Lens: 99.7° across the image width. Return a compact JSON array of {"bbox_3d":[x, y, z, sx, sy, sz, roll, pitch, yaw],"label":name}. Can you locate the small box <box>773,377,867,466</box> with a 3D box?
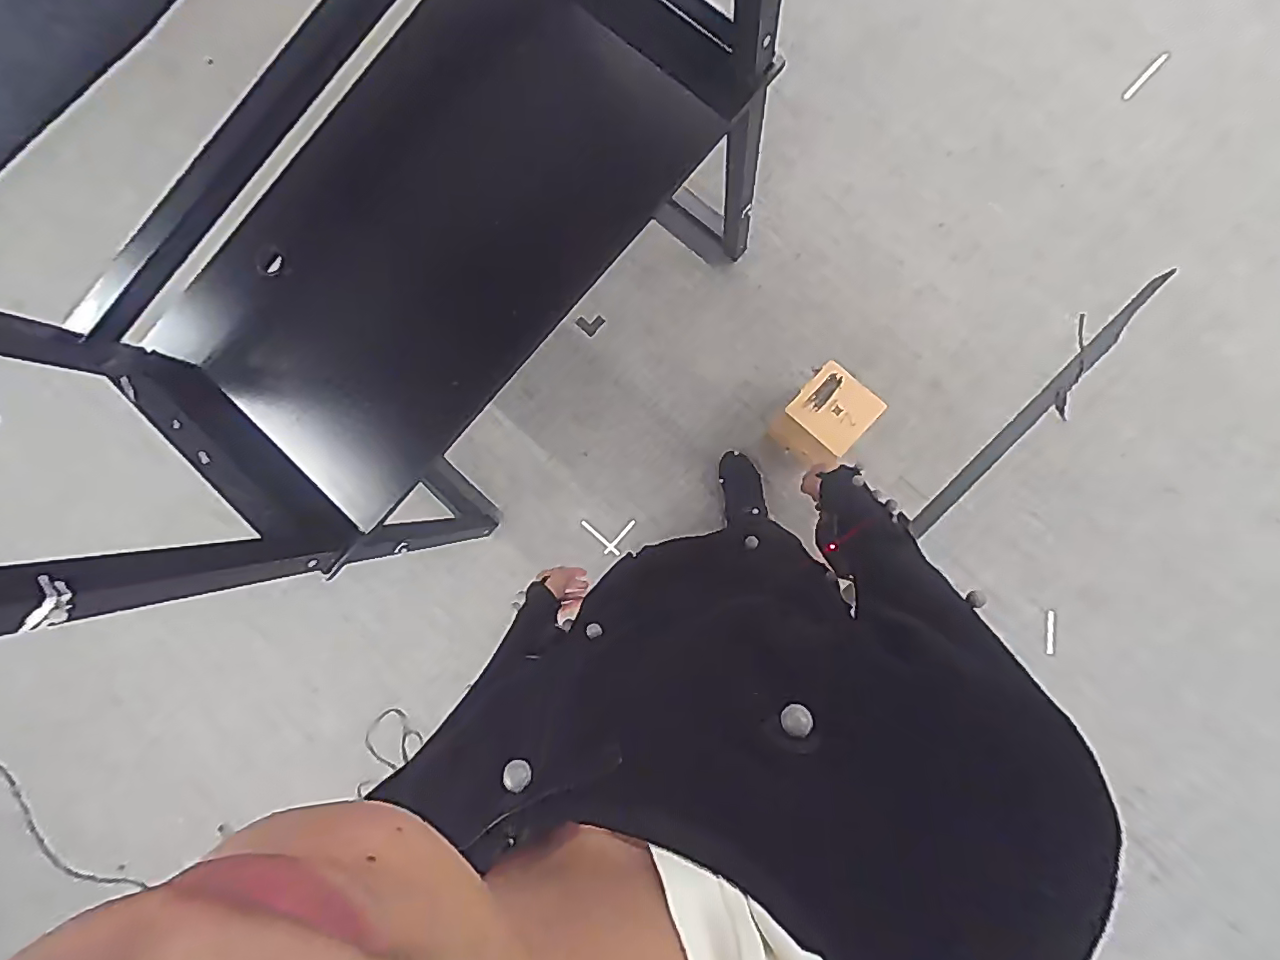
[{"bbox_3d":[0.488,-0.155,1.502,0.168,0.176,0.179,41,95,7],"label":"small box"}]
